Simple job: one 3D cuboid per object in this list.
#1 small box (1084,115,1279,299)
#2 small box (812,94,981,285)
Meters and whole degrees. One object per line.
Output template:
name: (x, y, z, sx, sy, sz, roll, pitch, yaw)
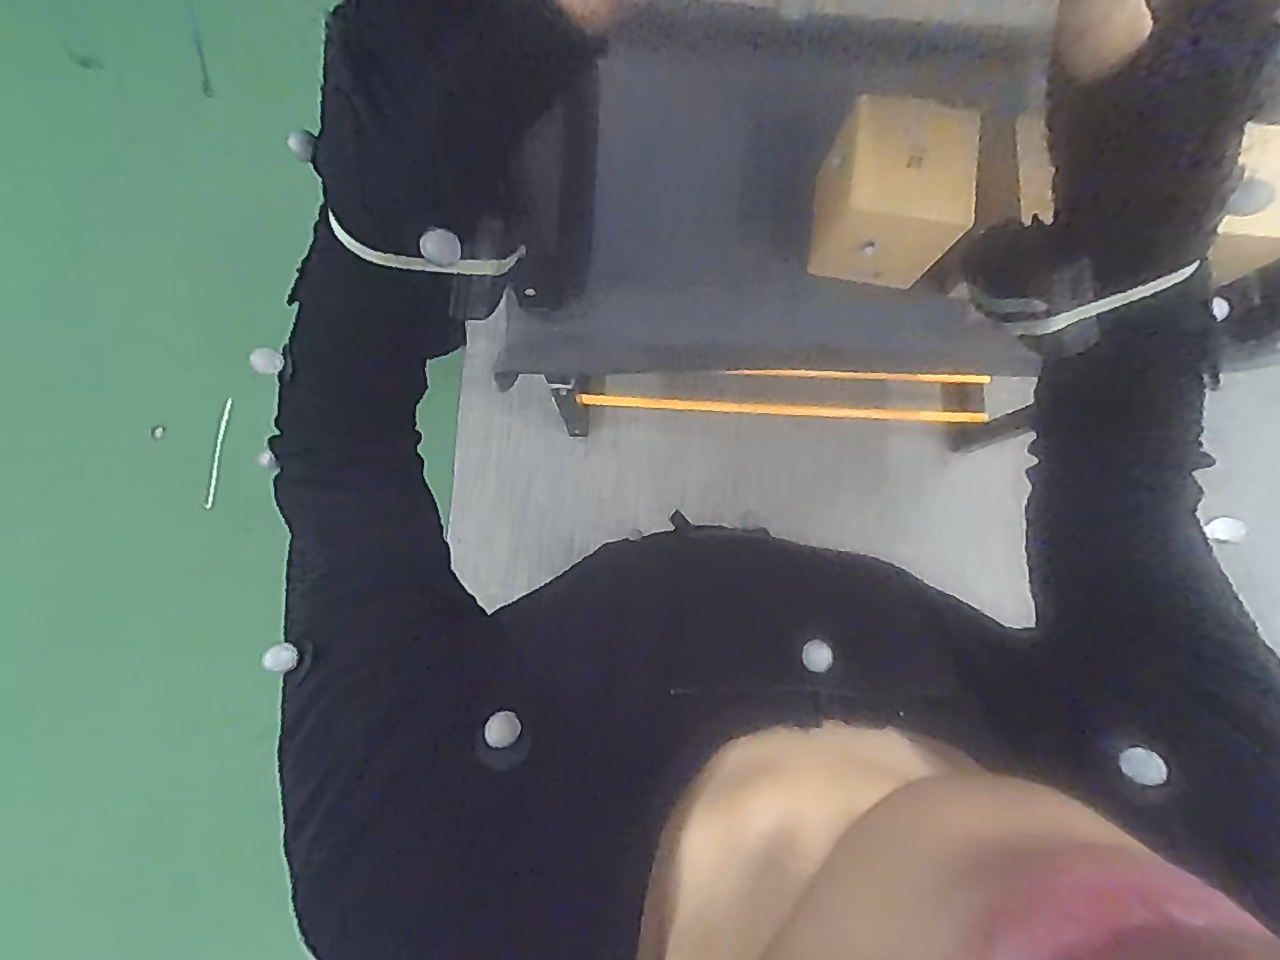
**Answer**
small box: (0.804, -0.390, 0.798, 0.168, 0.176, 0.179, 6, 79, -1)
small box: (0.363, -0.412, 0.793, 0.168, 0.176, 0.179, 9, 80, 0)
